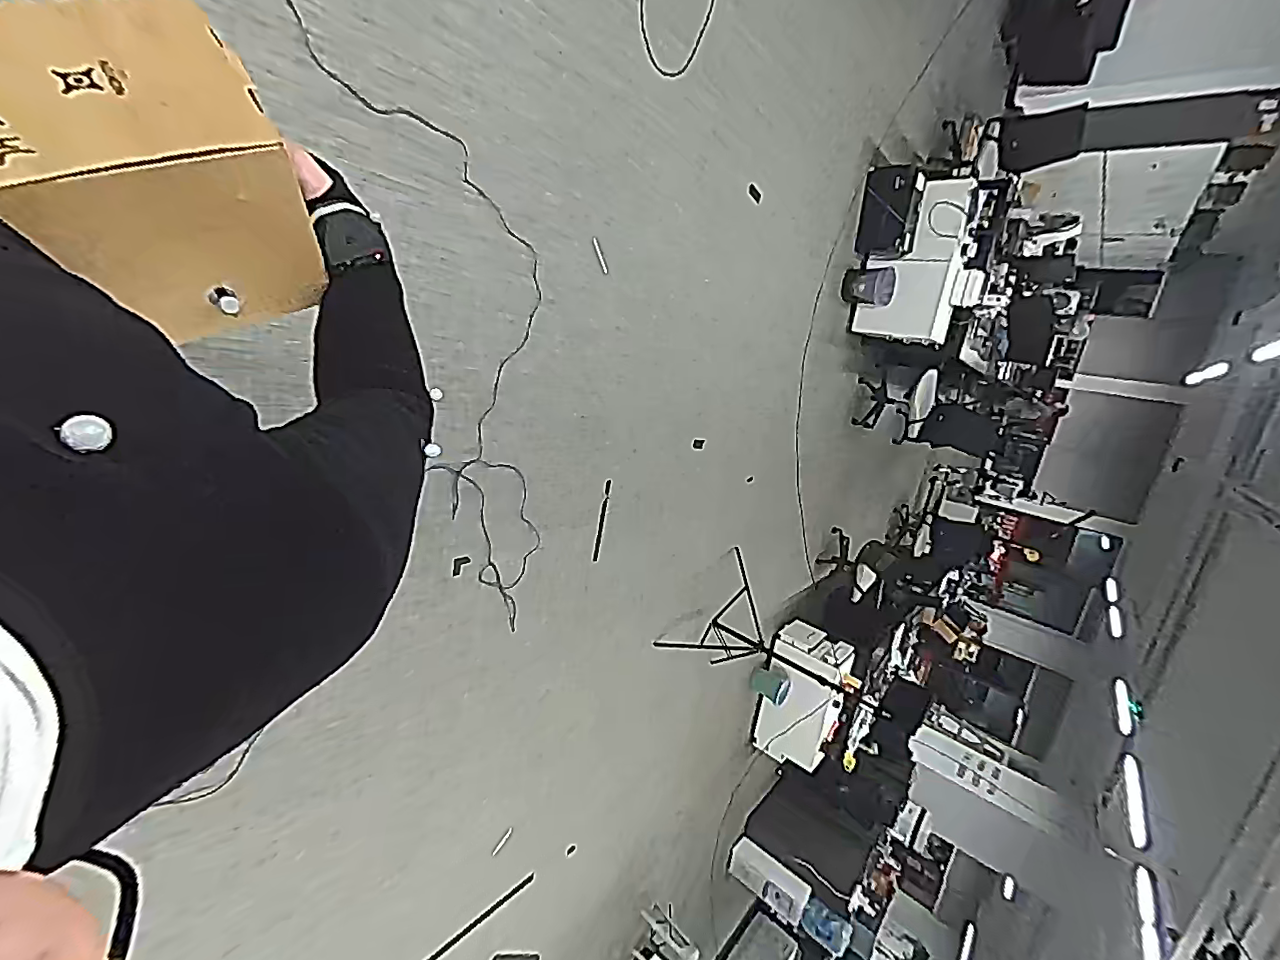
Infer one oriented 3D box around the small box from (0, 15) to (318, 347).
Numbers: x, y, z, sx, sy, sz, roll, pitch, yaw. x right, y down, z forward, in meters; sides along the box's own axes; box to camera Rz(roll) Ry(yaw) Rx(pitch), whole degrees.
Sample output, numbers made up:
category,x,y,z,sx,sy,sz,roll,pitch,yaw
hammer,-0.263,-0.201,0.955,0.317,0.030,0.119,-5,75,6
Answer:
category,x,y,z,sx,sy,sz,roll,pitch,yaw
small box,-0.402,-0.245,0.458,0.179,0.168,0.176,-29,167,-27
